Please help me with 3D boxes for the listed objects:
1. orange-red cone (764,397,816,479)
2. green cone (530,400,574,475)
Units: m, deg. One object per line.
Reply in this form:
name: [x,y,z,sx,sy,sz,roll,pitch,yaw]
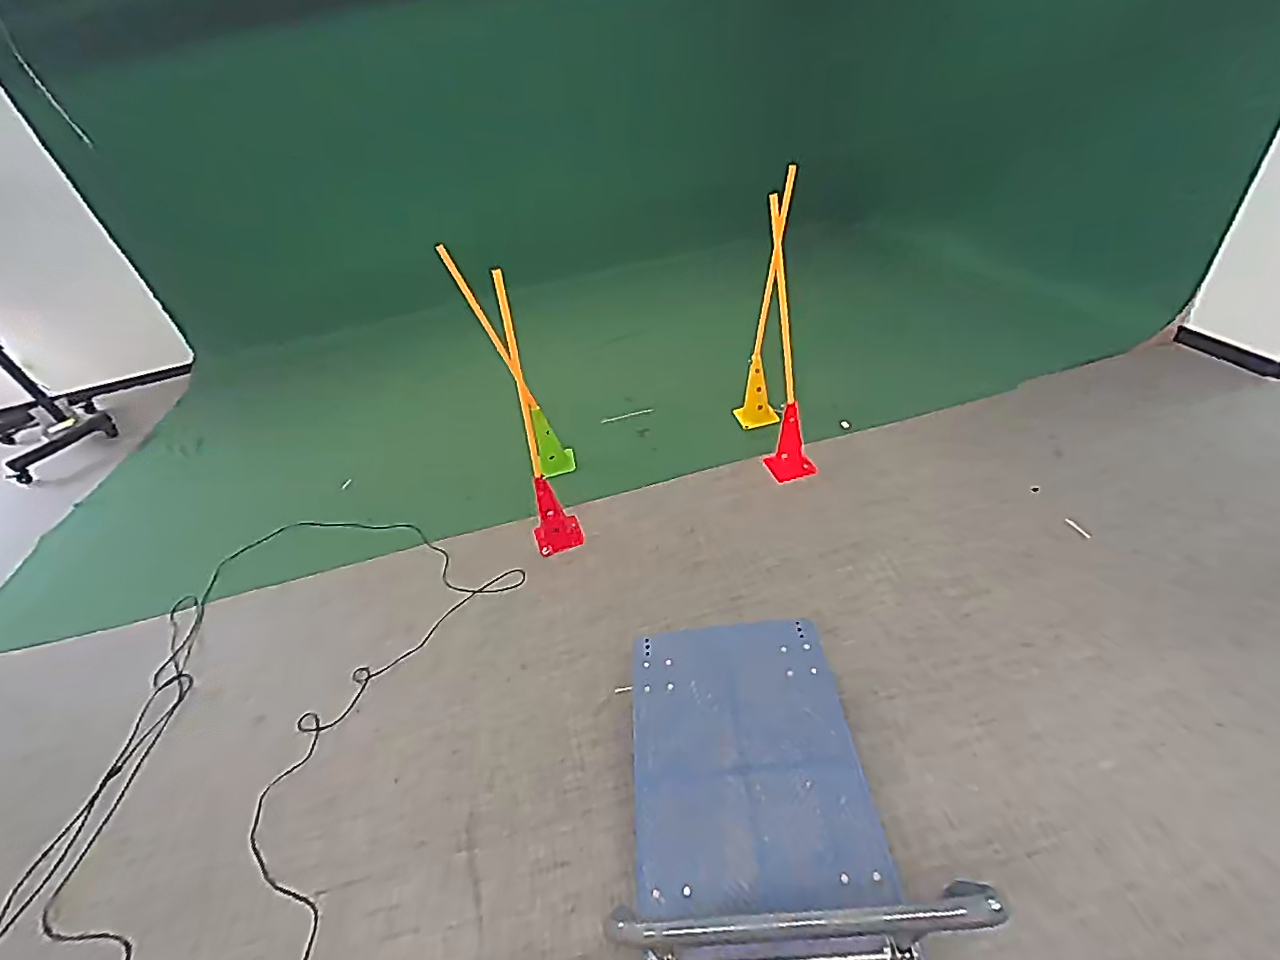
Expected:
orange-red cone: [0.673,-0.212,2.426,0.198,0.360,0.199,-14,37,-4]
green cone: [-0.478,-0.236,2.728,0.200,0.368,0.202,-15,38,-3]
